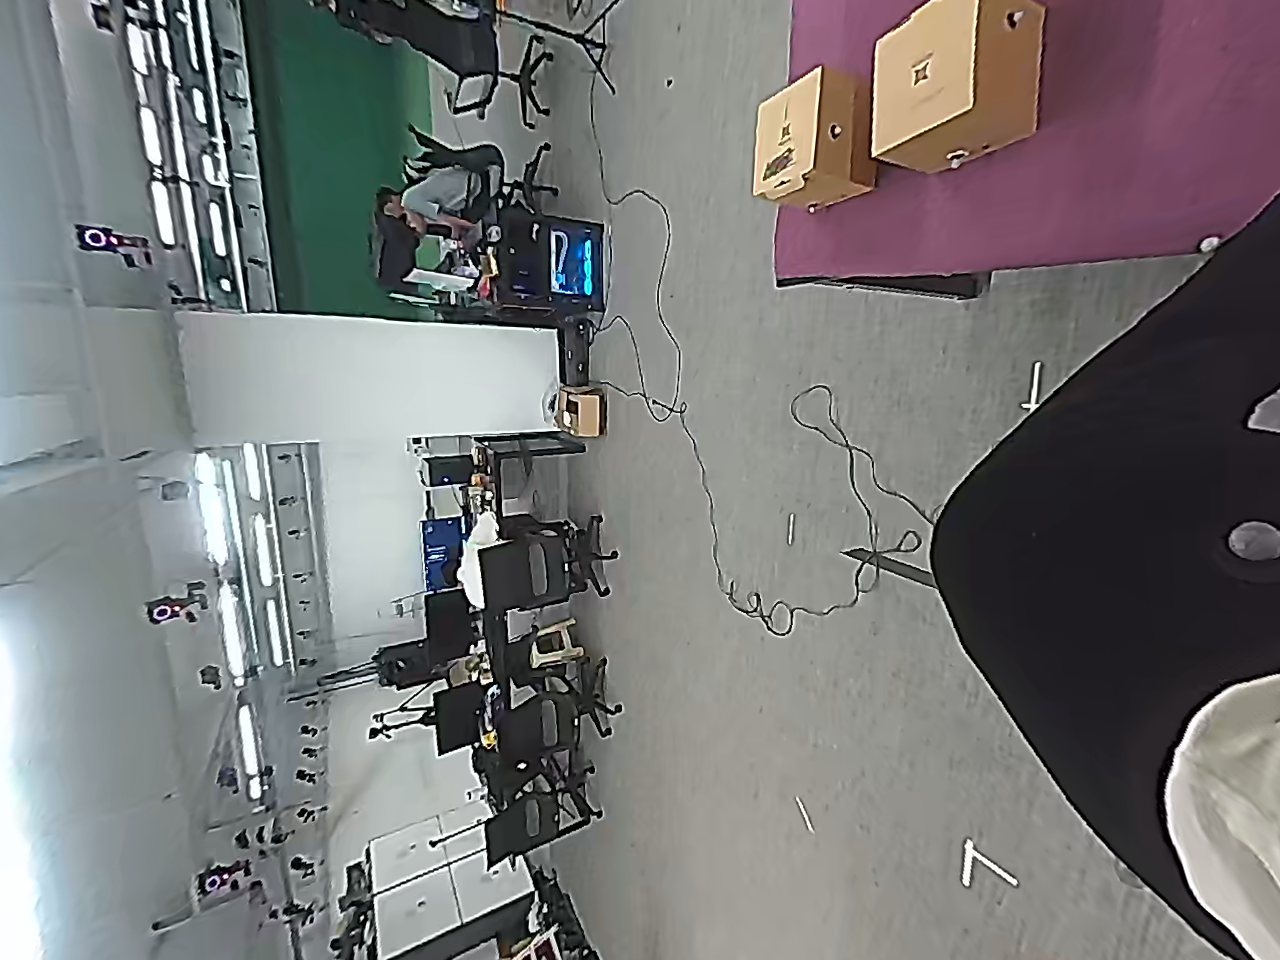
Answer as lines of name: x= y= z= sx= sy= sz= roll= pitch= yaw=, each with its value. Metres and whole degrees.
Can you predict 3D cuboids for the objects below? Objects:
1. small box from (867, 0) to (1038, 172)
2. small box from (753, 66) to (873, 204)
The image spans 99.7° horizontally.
small box: x=0.481 y=-0.611 z=0.837 sx=0.168 sy=0.176 sz=0.179 roll=13 pitch=106 yaw=61
small box: x=0.344 y=-0.663 z=1.069 sx=0.168 sy=0.176 sz=0.179 roll=18 pitch=109 yaw=59
